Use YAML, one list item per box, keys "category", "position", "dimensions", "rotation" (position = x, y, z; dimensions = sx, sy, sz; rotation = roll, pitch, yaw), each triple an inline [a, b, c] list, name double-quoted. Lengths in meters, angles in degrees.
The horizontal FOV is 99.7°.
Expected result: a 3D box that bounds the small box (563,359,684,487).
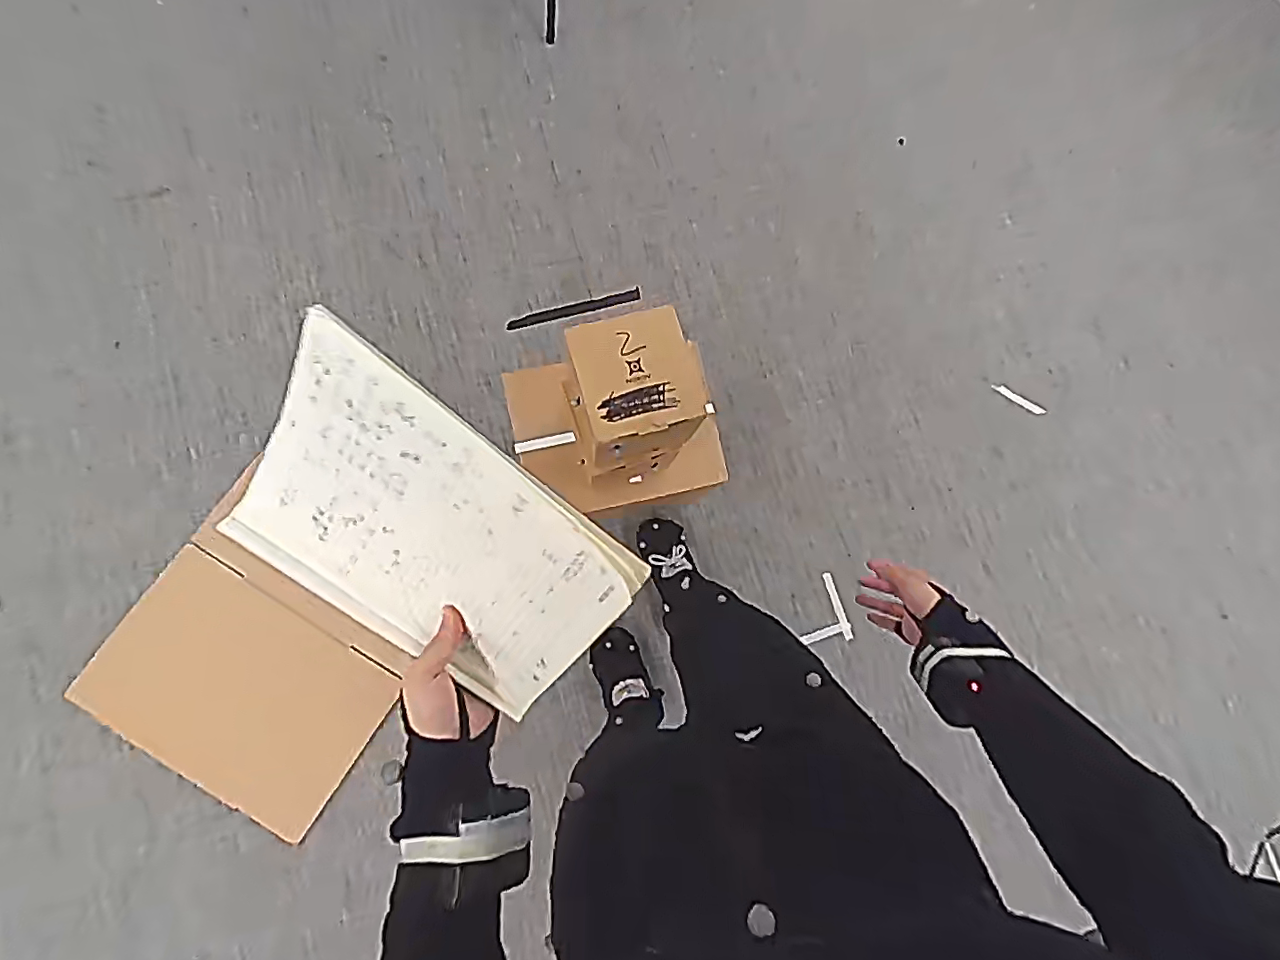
- category: "small box"
  position: [-0.034, -0.093, 0.989]
  dimensions: [0.168, 0.176, 0.179]
  rotation: [-18, 82, -9]
